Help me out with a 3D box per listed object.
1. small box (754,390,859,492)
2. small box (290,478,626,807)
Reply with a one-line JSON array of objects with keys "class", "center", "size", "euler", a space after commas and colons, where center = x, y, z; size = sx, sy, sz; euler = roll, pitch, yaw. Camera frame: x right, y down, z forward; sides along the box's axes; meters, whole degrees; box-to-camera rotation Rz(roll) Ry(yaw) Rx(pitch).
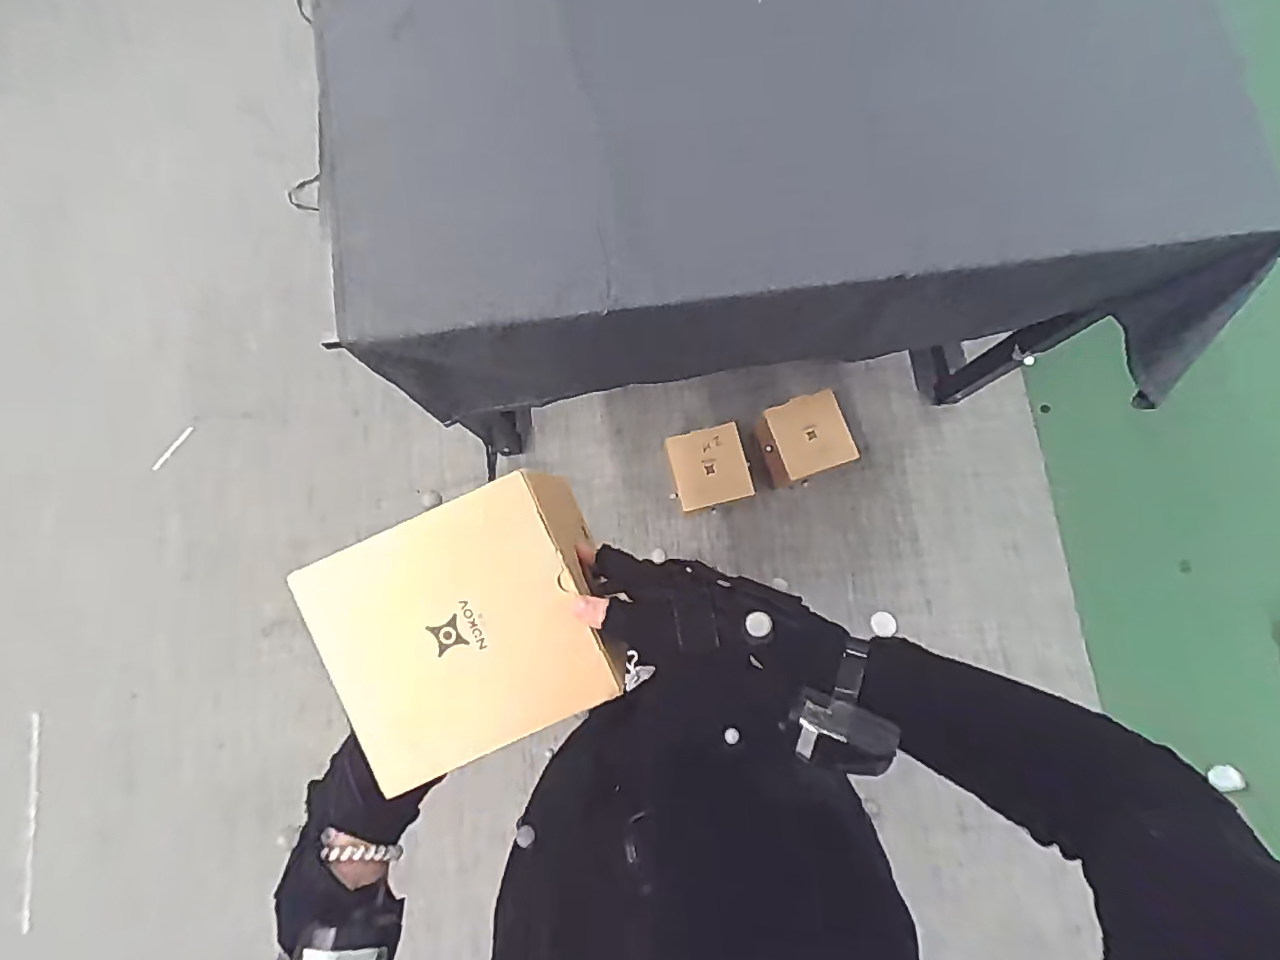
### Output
[{"class": "small box", "center": [0.384, -0.086, 1.283], "size": [0.168, 0.176, 0.179], "euler": [-18, 80, -1]}, {"class": "small box", "center": [-0.121, 0.108, 0.434], "size": [0.179, 0.176, 0.168], "euler": [-24, 89, 0]}]
